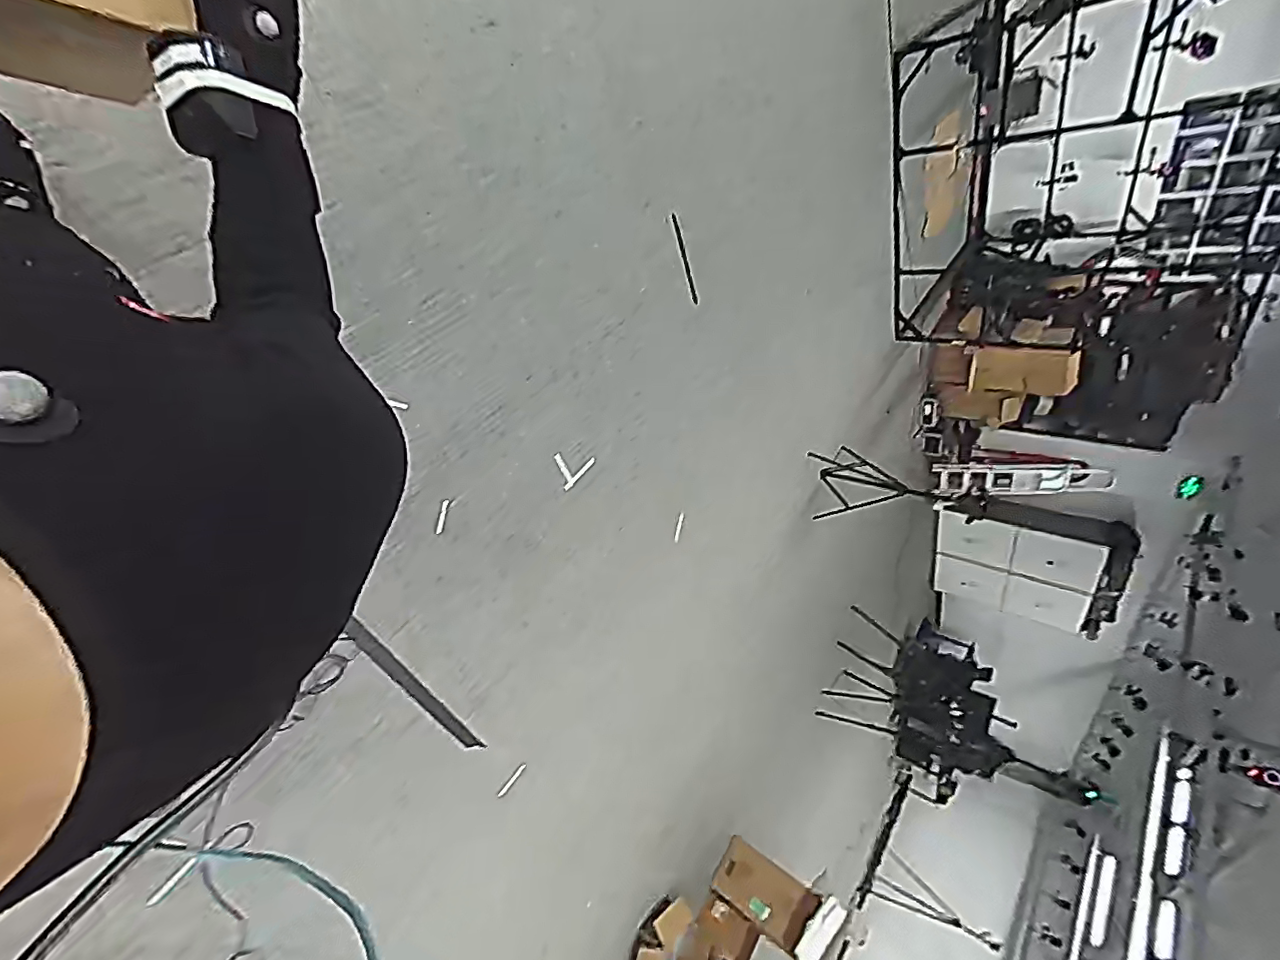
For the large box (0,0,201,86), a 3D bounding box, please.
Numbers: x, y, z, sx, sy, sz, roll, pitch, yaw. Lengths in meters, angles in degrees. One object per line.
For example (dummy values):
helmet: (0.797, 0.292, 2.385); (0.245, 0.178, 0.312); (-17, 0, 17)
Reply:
large box: (-0.553, -0.477, 0.293); (0.408, 0.320, 0.320); (-17, 119, -47)
